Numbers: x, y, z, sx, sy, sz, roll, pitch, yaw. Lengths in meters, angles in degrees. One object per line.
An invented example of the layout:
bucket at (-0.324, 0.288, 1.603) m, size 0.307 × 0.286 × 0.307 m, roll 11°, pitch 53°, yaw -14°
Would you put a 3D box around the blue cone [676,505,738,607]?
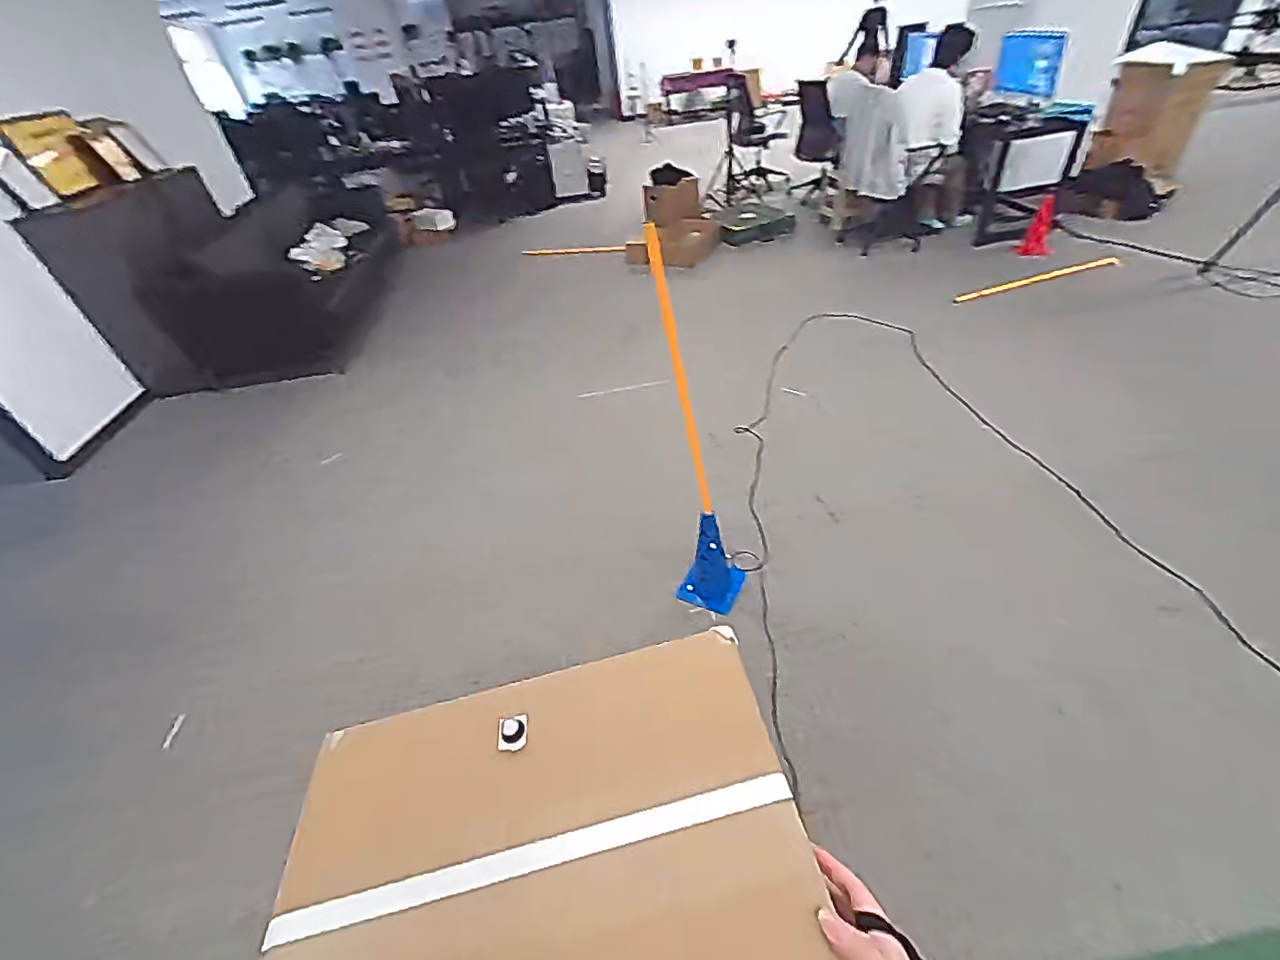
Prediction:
blue cone at (0.215, 0.231, 1.775) m, size 0.192 × 0.380 × 0.193 m, roll 12°, pitch 45°, yaw 23°
